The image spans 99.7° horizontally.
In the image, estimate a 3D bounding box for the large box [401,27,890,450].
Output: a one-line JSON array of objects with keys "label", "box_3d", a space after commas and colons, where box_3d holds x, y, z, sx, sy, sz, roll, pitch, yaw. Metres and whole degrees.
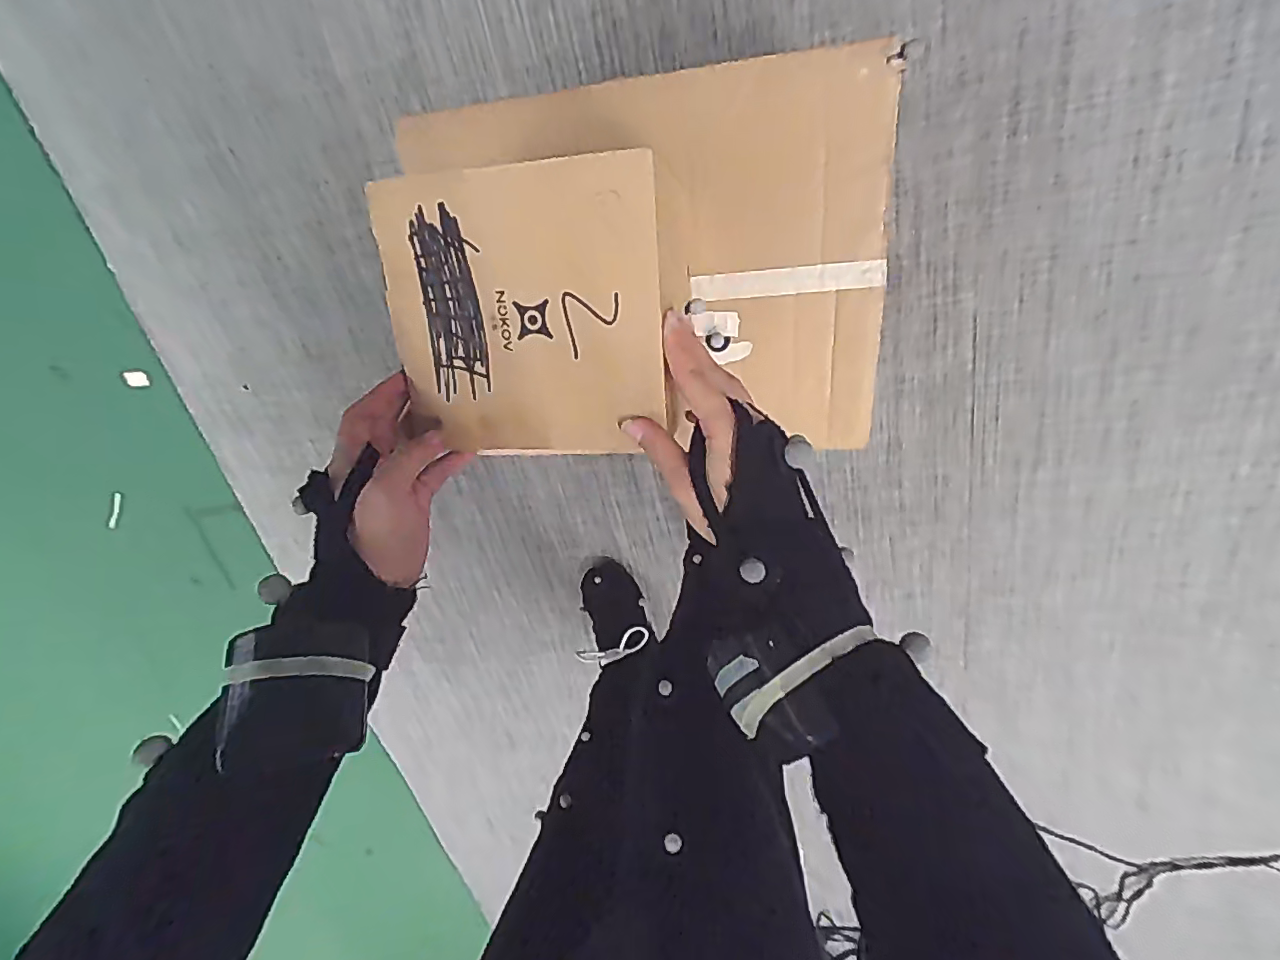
[{"label": "large box", "box_3d": [0.026, -0.241, 0.618, 0.408, 0.320, 0.320, -1, 116, 11]}]
